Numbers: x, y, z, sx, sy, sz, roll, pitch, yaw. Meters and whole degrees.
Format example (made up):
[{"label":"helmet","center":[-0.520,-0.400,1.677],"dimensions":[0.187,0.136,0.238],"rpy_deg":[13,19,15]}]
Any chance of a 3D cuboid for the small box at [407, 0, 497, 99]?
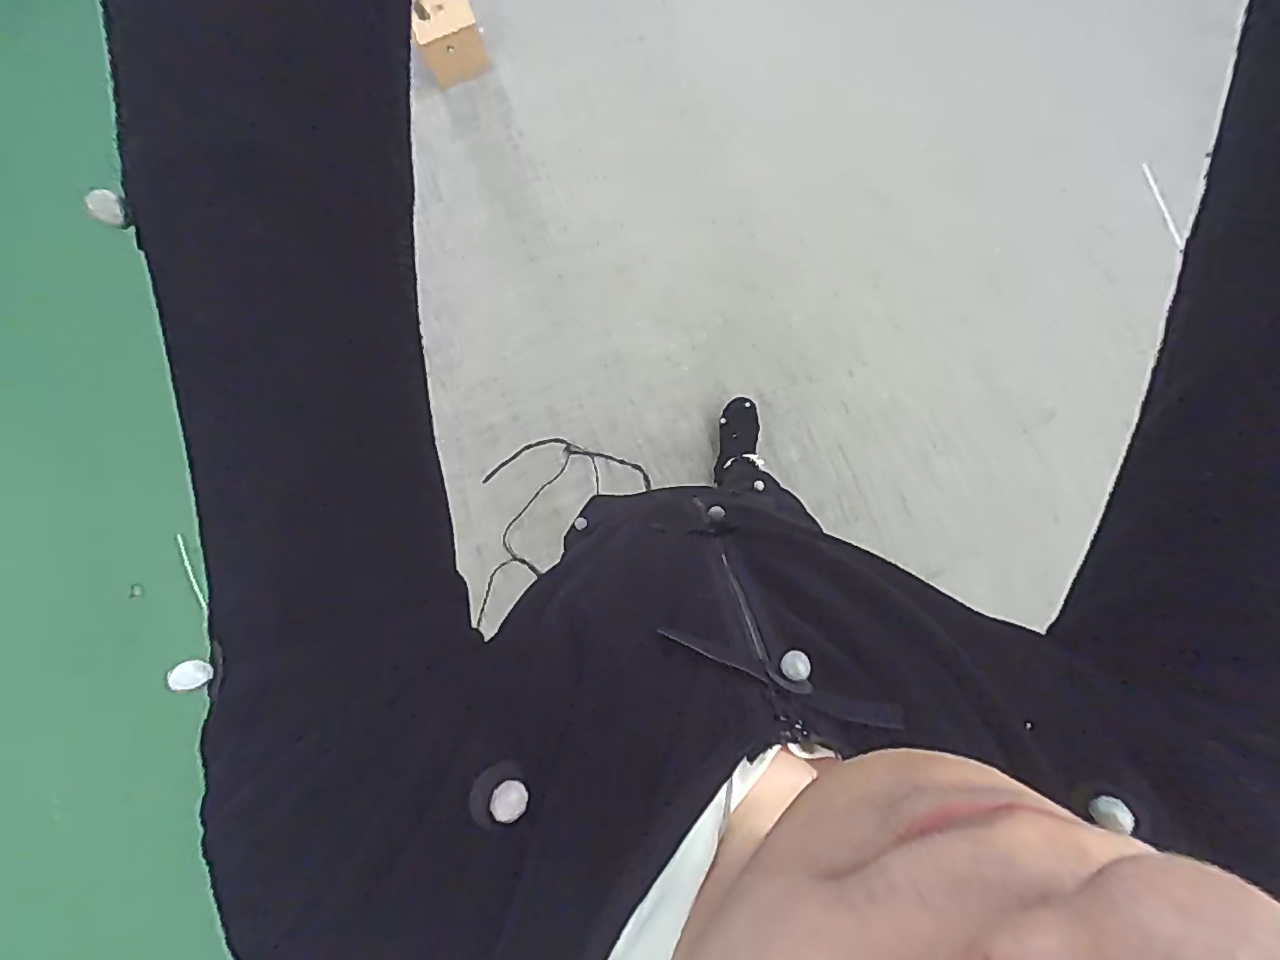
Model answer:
[{"label":"small box","center":[-0.553,-1.293,1.614],"dimensions":[0.179,0.176,0.168],"rpy_deg":[-23,88,-1]}]
